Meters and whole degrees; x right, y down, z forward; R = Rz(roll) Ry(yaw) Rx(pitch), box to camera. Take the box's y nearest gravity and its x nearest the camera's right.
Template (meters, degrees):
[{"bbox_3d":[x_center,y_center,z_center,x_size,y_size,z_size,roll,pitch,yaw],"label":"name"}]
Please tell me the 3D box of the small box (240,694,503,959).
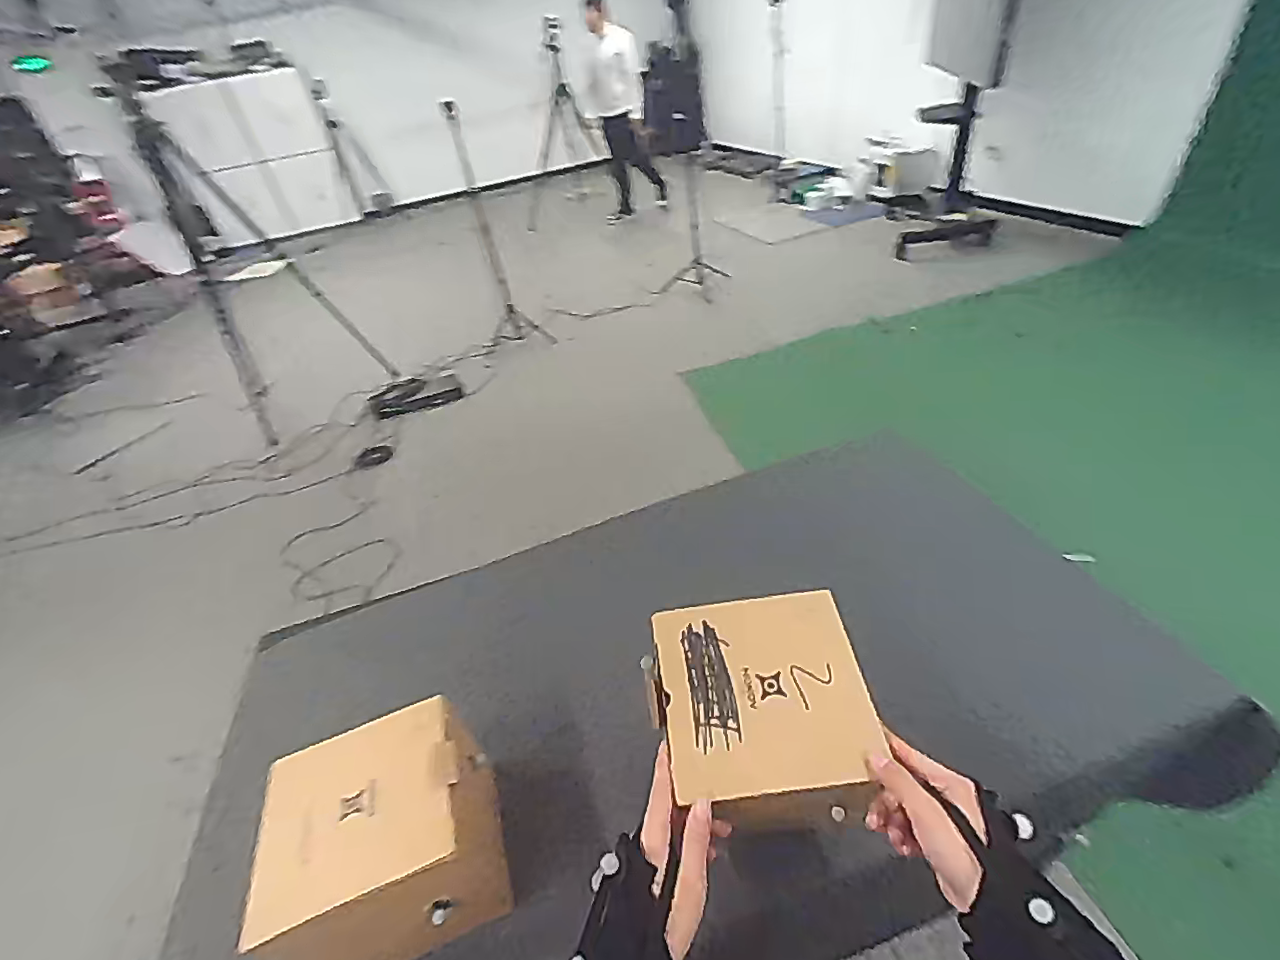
[{"bbox_3d":[-0.251,0.361,0.549,0.179,0.176,0.168,-21,38,-12],"label":"small box"}]
